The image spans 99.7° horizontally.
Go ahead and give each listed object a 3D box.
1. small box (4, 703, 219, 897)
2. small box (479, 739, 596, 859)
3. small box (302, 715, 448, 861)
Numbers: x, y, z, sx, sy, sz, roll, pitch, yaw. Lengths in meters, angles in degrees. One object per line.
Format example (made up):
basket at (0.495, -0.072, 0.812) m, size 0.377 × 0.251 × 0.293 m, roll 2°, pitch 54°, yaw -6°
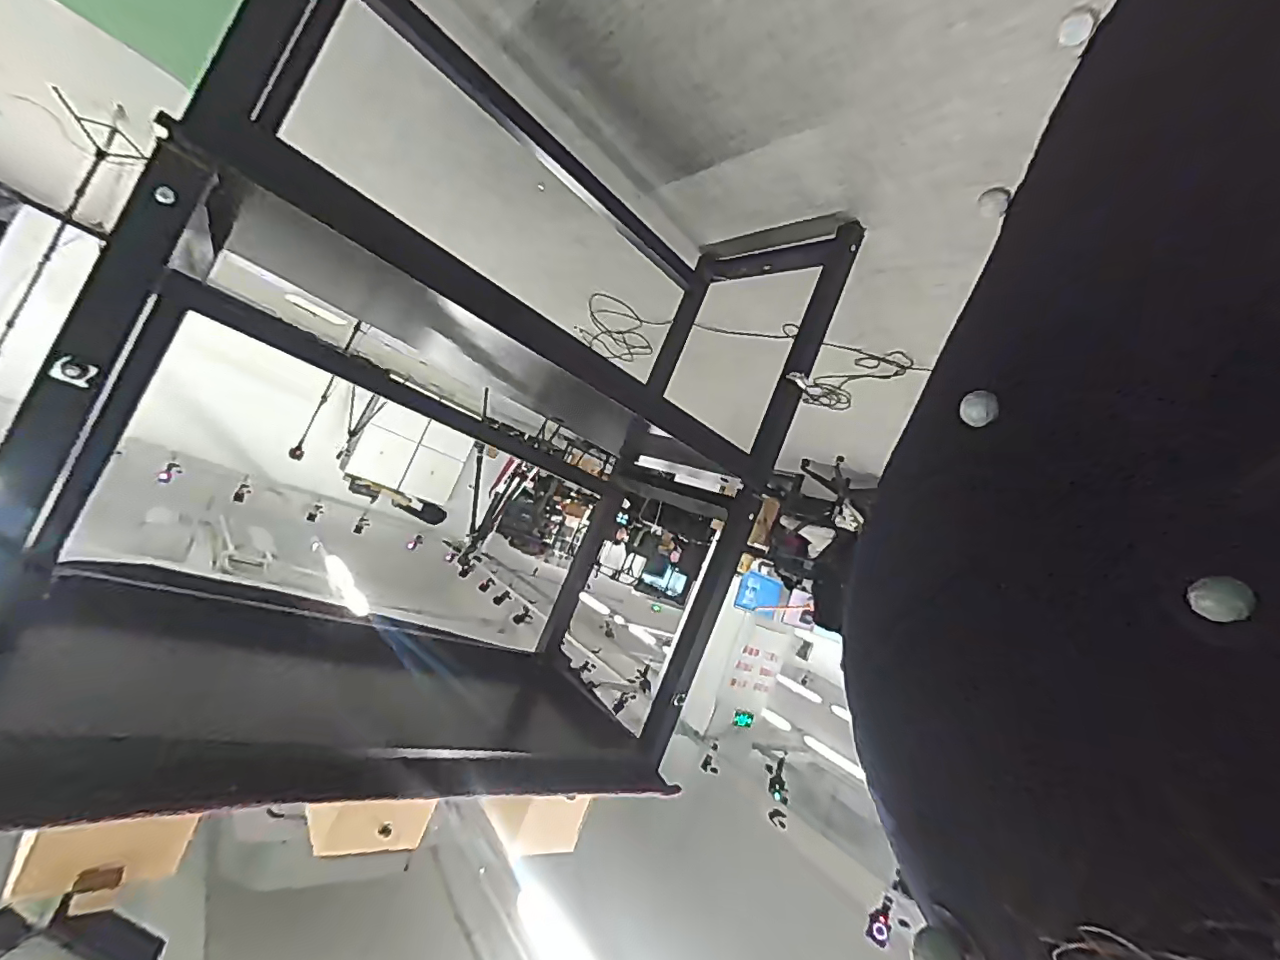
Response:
small box at (-0.733, 0.434, 0.771) m, size 0.168 × 0.176 × 0.179 m, roll 26°, pitch 176°, yaw -42°
small box at (-0.223, 0.691, 1.192) m, size 0.168 × 0.176 × 0.179 m, roll 26°, pitch 173°, yaw -35°
small box at (-0.487, 0.560, 1.002) m, size 0.179 × 0.176 × 0.168 m, roll 28°, pitch 174°, yaw -39°
